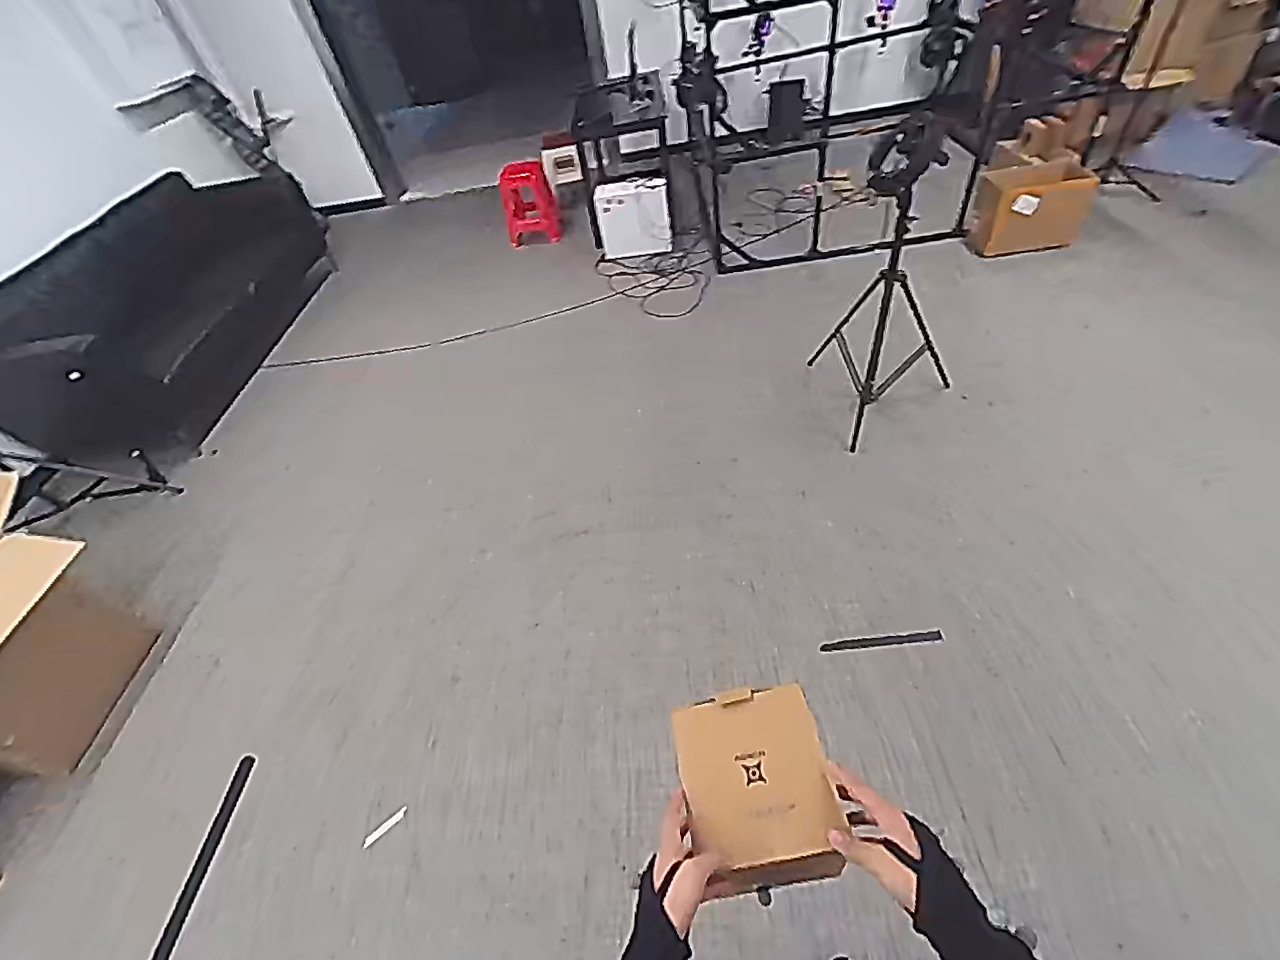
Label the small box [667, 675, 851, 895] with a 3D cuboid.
[{"bbox_3d":[0.135,0.370,0.658,0.168,0.176,0.179,-13,43,1],"label":"small box"}]
